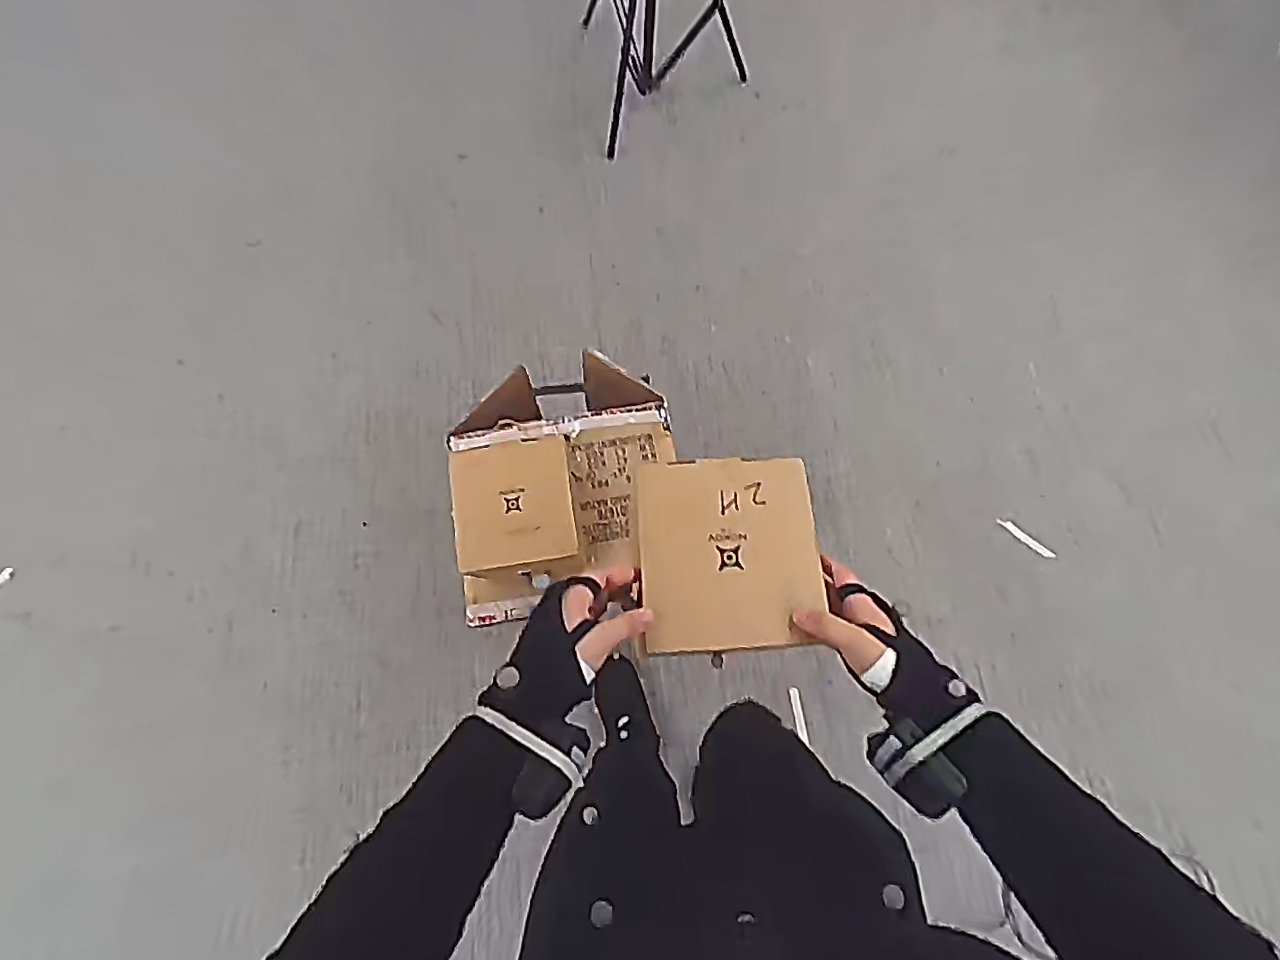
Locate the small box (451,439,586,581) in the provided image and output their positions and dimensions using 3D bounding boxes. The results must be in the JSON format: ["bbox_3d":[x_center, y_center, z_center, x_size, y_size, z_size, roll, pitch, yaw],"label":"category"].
[{"bbox_3d":[-0.178,0.053,0.830,0.168,0.176,0.179,-9,78,-4],"label":"small box"}]
